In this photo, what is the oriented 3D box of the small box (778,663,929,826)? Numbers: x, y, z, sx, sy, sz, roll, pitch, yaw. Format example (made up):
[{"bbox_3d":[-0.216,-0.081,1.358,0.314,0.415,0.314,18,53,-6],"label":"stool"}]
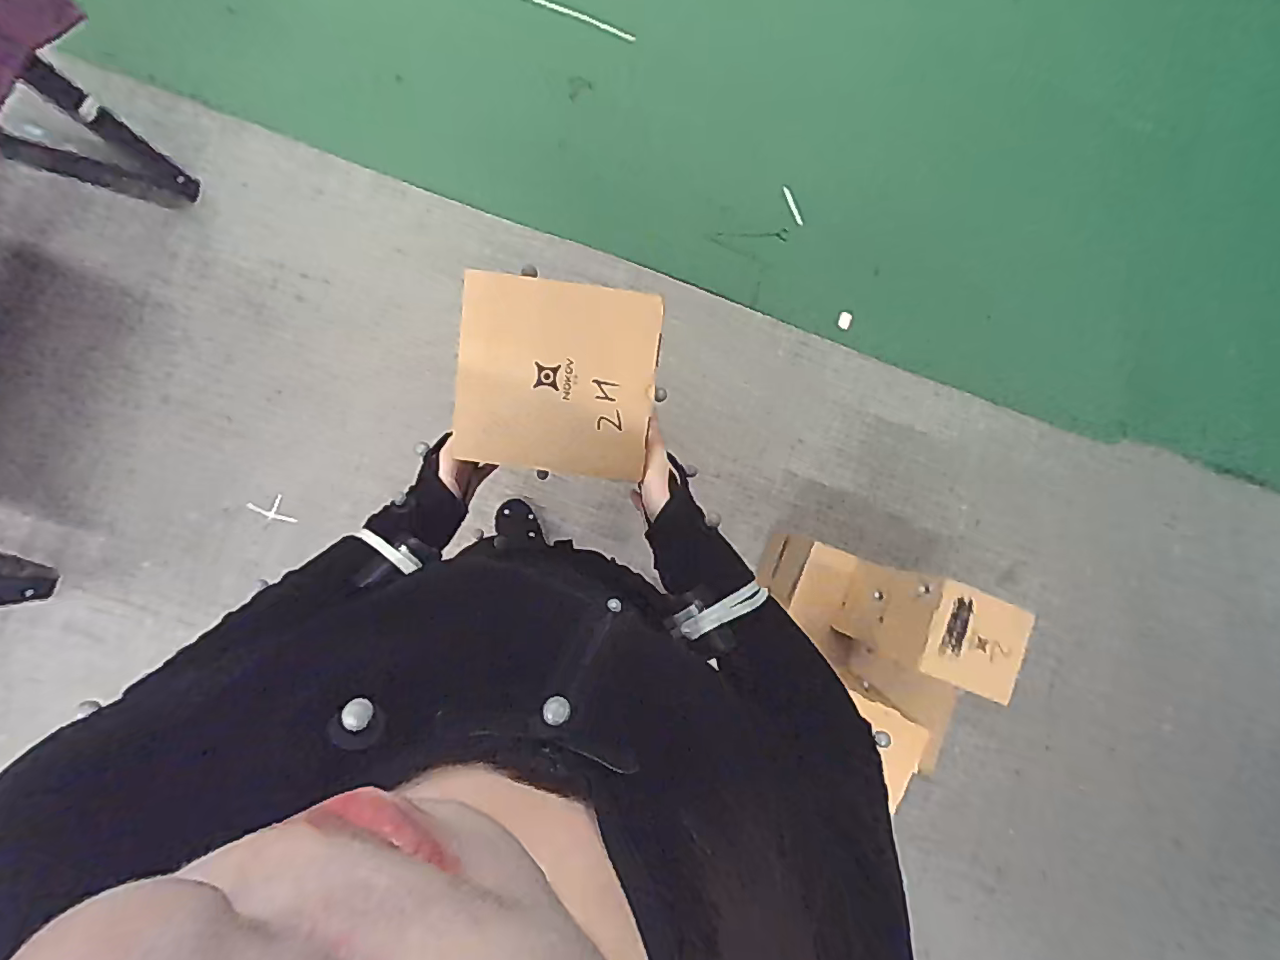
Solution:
[{"bbox_3d":[0.368,0.462,0.971,0.168,0.176,0.179,27,86,-3],"label":"small box"}]

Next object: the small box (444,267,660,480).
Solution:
[{"bbox_3d":[-0.079,-0.103,0.550,0.179,0.176,0.168,7,100,-1],"label":"small box"}]

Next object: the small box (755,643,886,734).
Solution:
[{"bbox_3d":[0.366,0.461,1.134,0.179,0.176,0.168,27,87,-4],"label":"small box"}]

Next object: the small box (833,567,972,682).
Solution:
[{"bbox_3d":[0.552,0.298,1.158,0.179,0.176,0.168,26,84,-4],"label":"small box"}]
